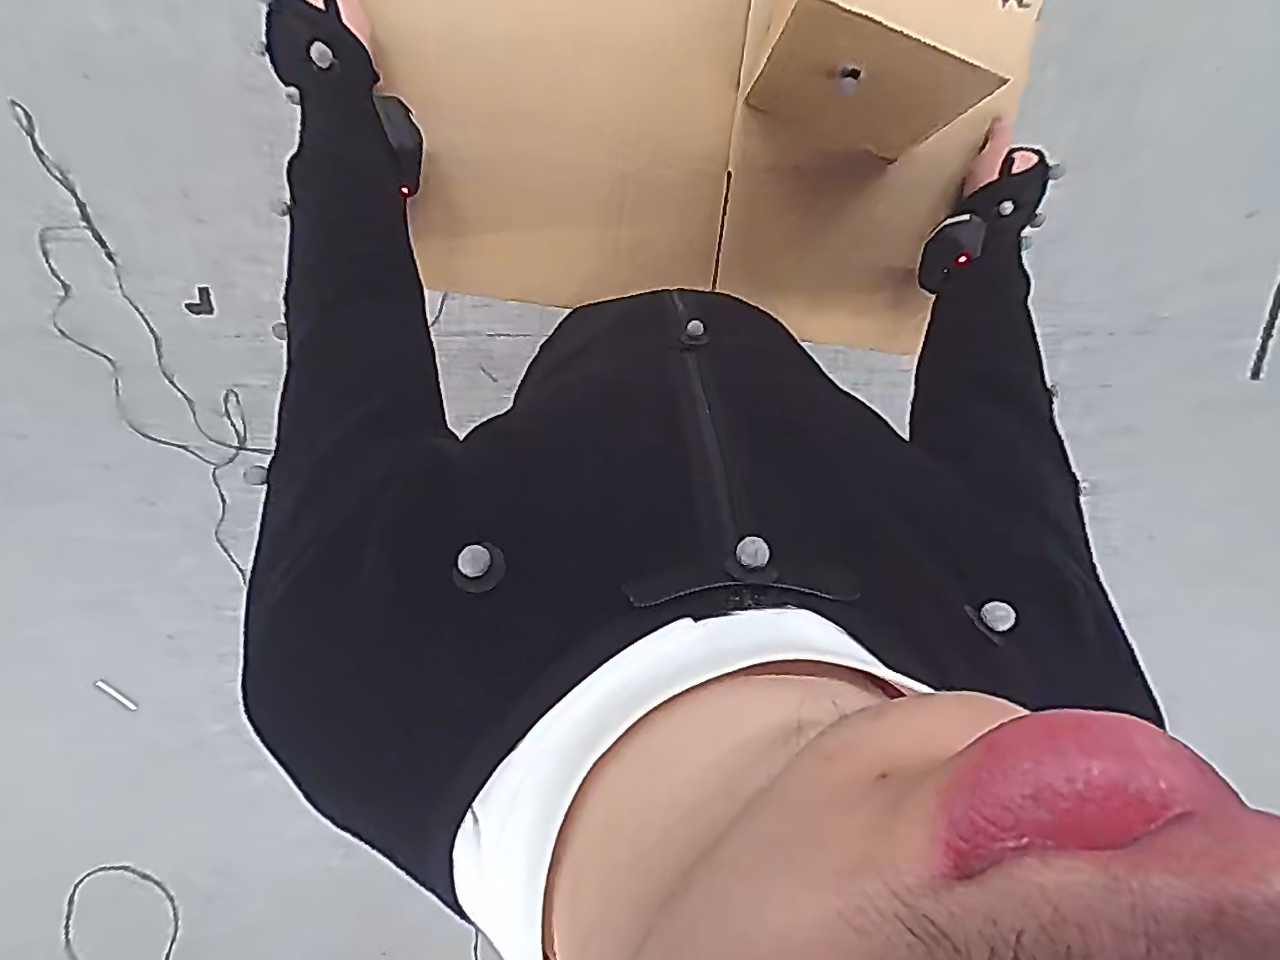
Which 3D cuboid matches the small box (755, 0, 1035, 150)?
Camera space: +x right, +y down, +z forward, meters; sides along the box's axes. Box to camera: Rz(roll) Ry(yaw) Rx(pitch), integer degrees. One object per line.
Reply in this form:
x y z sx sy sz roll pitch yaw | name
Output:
0.220 -0.425 0.473 0.179 0.176 0.168 16 101 -6 | small box
